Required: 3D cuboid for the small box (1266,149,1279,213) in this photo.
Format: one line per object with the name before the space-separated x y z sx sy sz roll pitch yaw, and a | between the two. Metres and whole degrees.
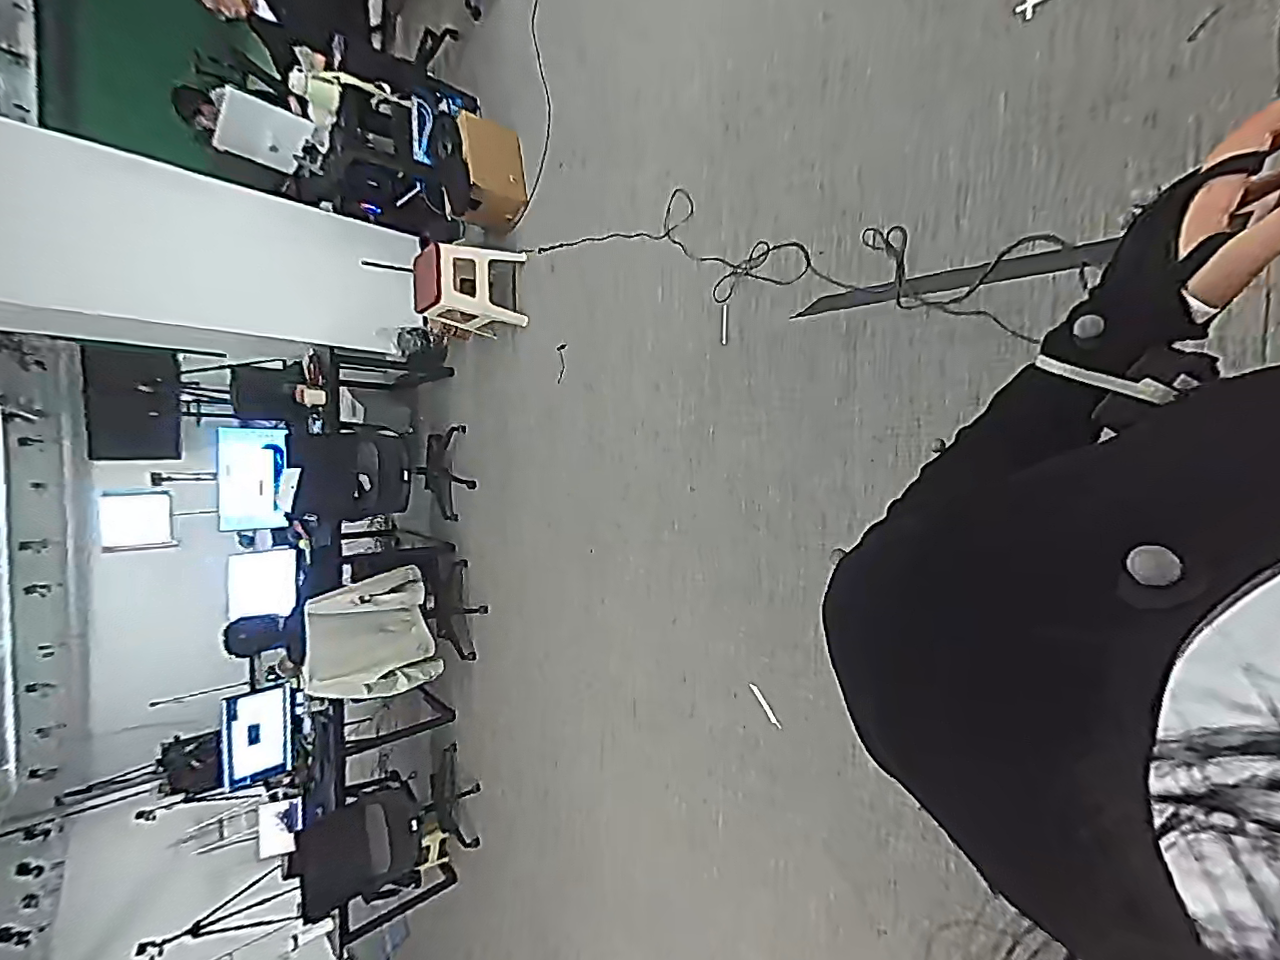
small box | 0.478 -0.228 0.273 0.168 0.176 0.179 21 119 34
